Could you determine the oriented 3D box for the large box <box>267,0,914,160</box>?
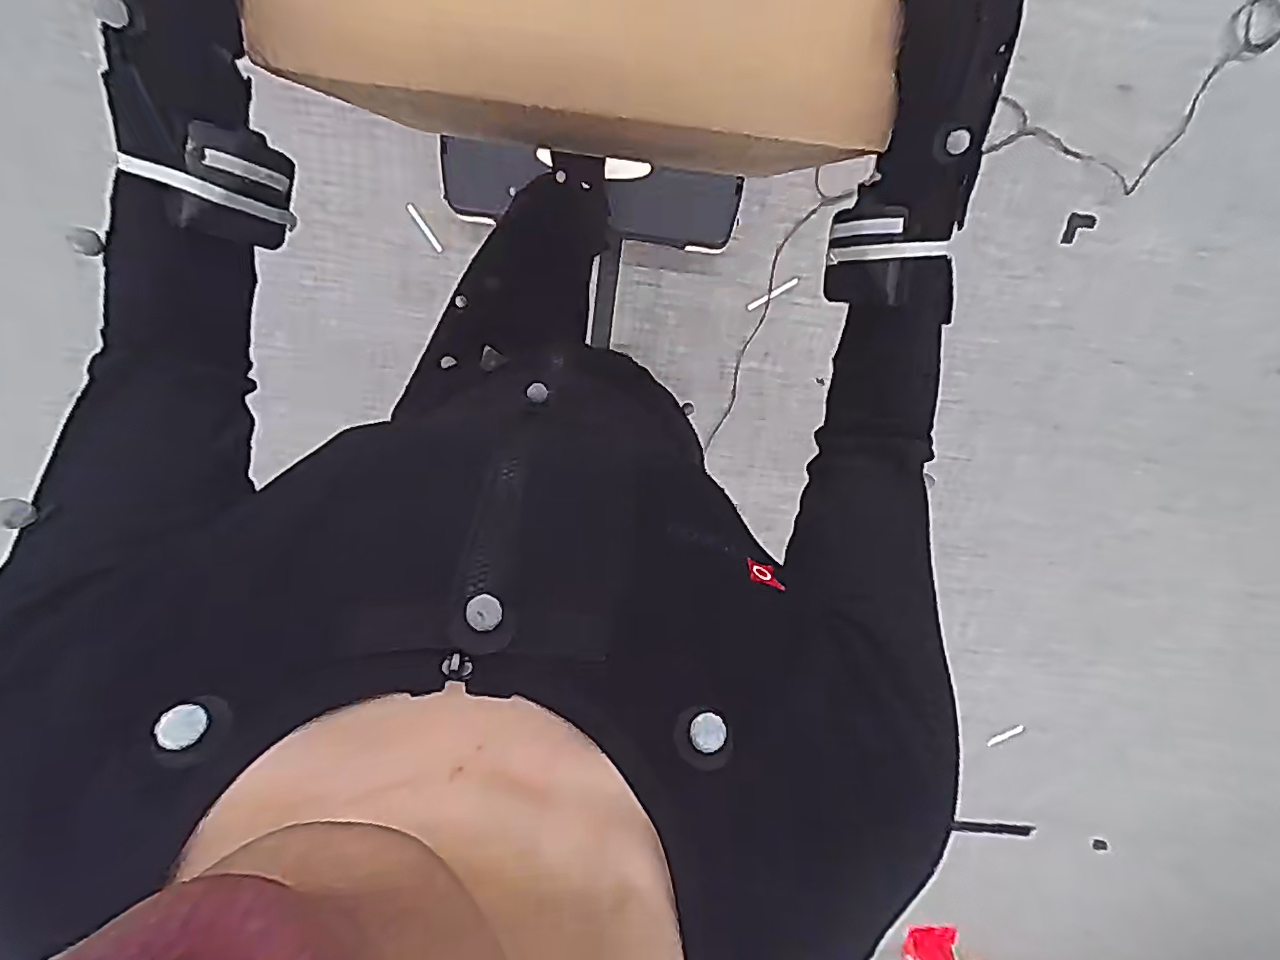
[{"bbox_3d":[-0.025,-0.455,0.418,0.408,0.320,0.320,4,117,-6],"label":"large box"}]
